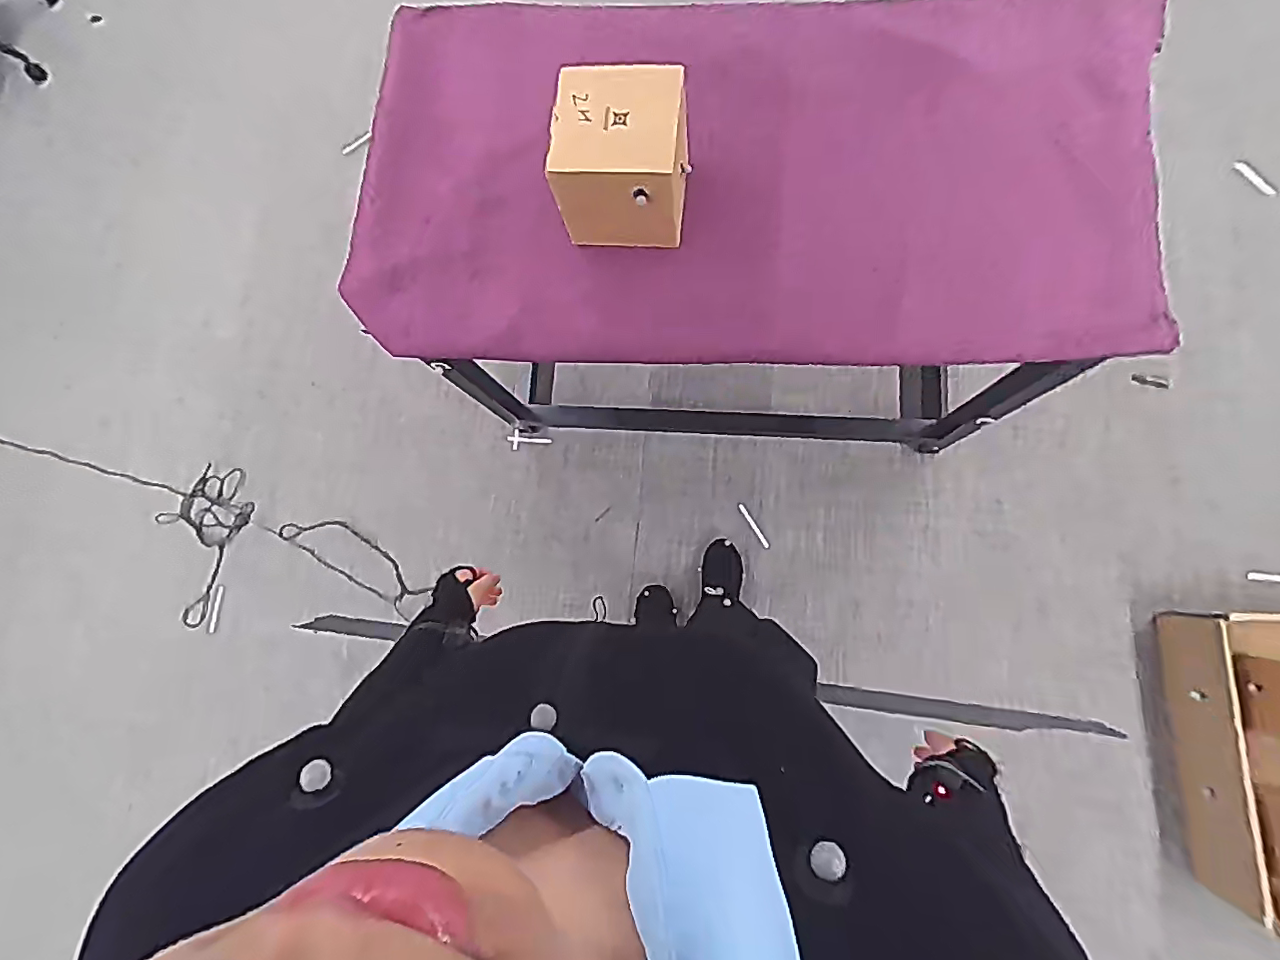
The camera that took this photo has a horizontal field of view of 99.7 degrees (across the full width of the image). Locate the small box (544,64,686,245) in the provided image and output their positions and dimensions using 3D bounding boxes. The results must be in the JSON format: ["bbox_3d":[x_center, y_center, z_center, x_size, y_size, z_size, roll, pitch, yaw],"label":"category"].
[{"bbox_3d":[-0.026,-0.472,0.804,0.179,0.176,0.168,5,81,8],"label":"small box"}]

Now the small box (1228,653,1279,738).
[{"bbox_3d":[1.441,0.479,1.157,0.179,0.176,0.168,10,83,8],"label":"small box"}]
